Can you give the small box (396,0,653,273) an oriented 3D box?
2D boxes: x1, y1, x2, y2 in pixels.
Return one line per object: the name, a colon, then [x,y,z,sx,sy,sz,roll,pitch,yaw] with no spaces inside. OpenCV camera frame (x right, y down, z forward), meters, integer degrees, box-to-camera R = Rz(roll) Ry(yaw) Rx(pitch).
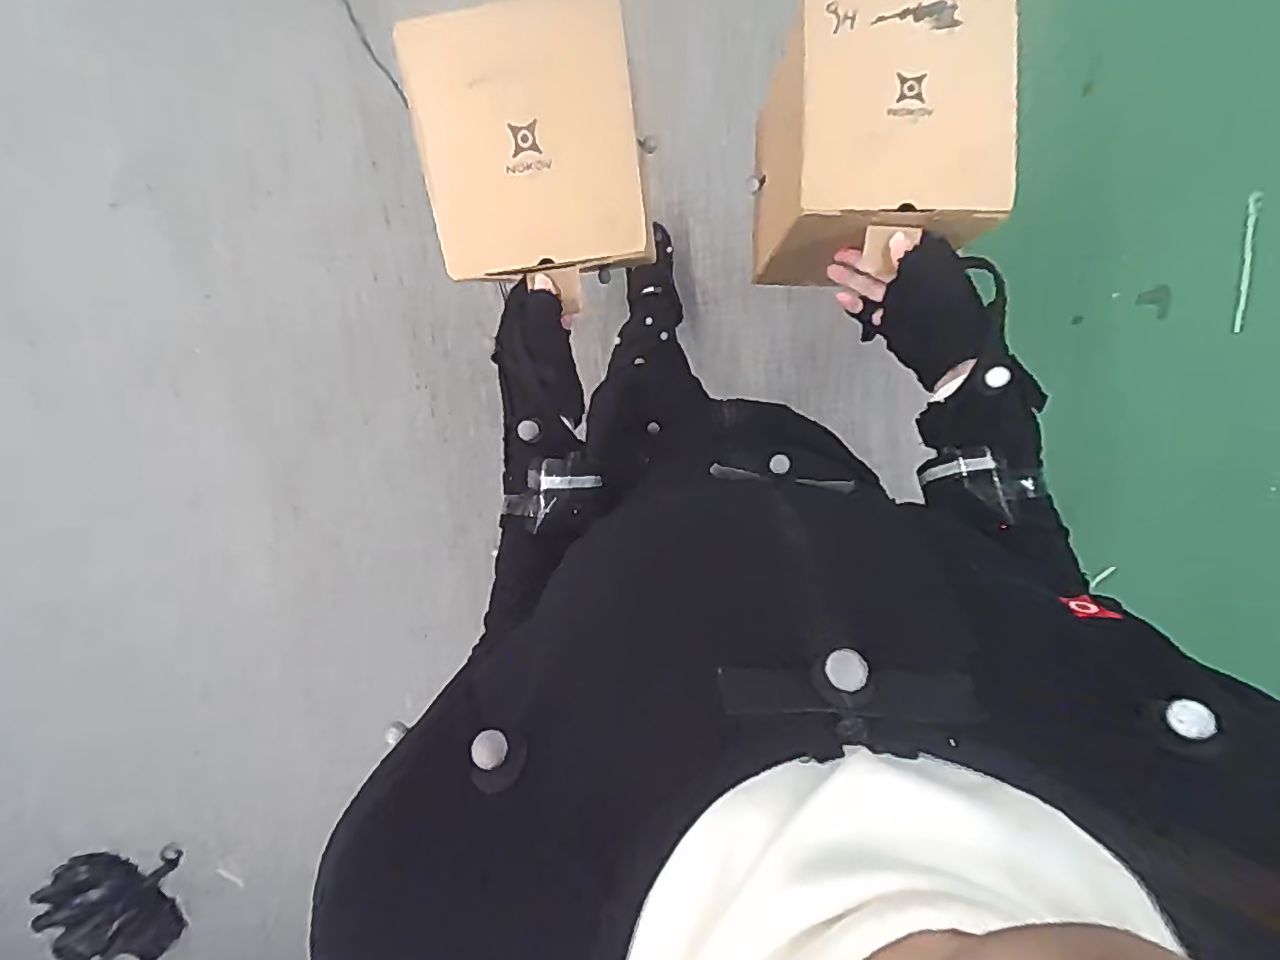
small box: [-0.081,-0.289,0.487,0.168,0.176,0.179,-6,109,6]
